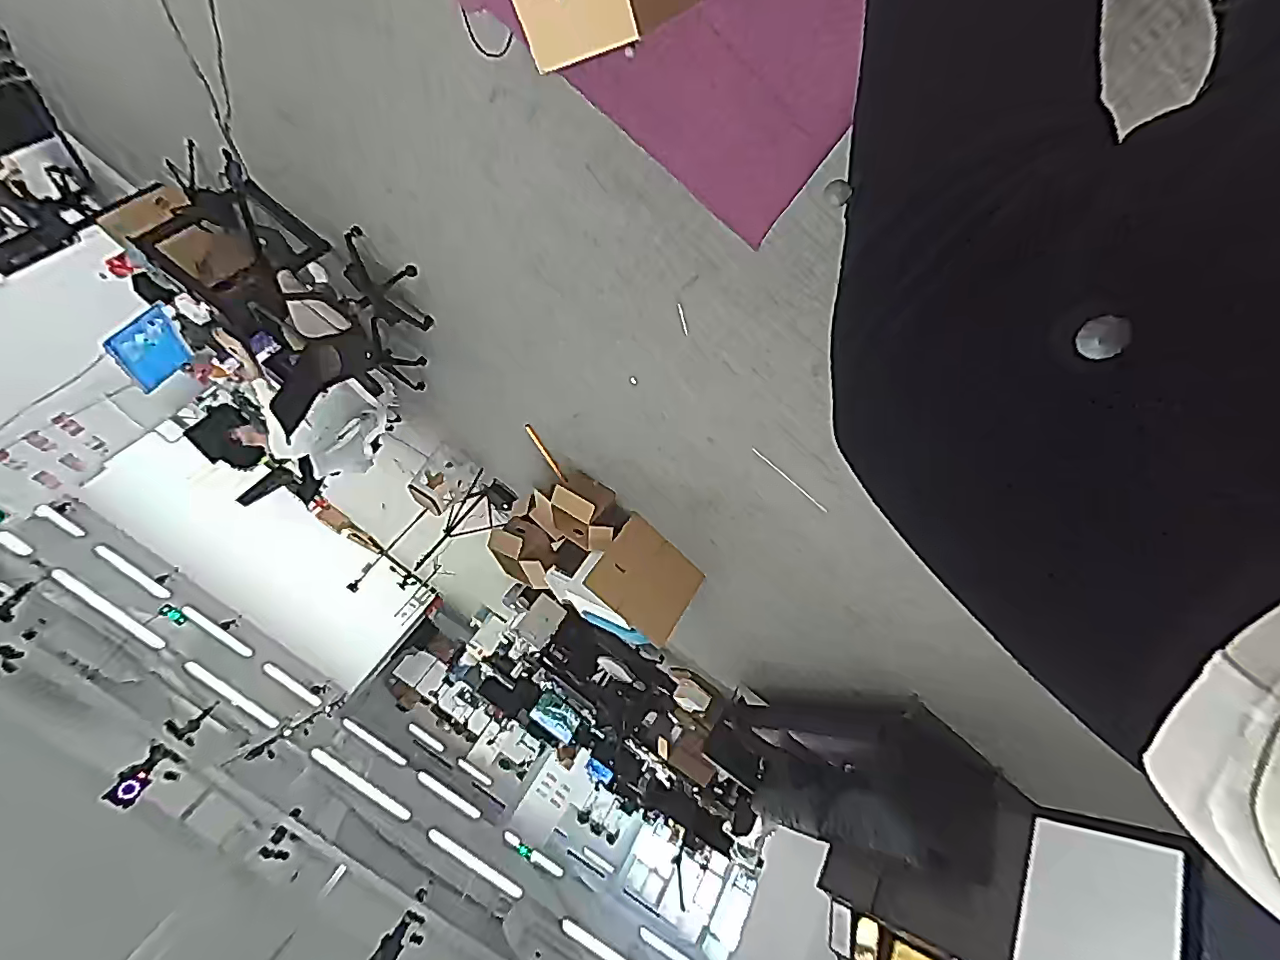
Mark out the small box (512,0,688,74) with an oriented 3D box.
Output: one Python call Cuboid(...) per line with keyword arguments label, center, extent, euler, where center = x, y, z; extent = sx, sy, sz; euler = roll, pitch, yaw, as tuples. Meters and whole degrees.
Cuboid(label="small box", center=(-0.052, -0.650, 0.675), extent=(0.179, 0.176, 0.168), euler=(13, 143, 35))
